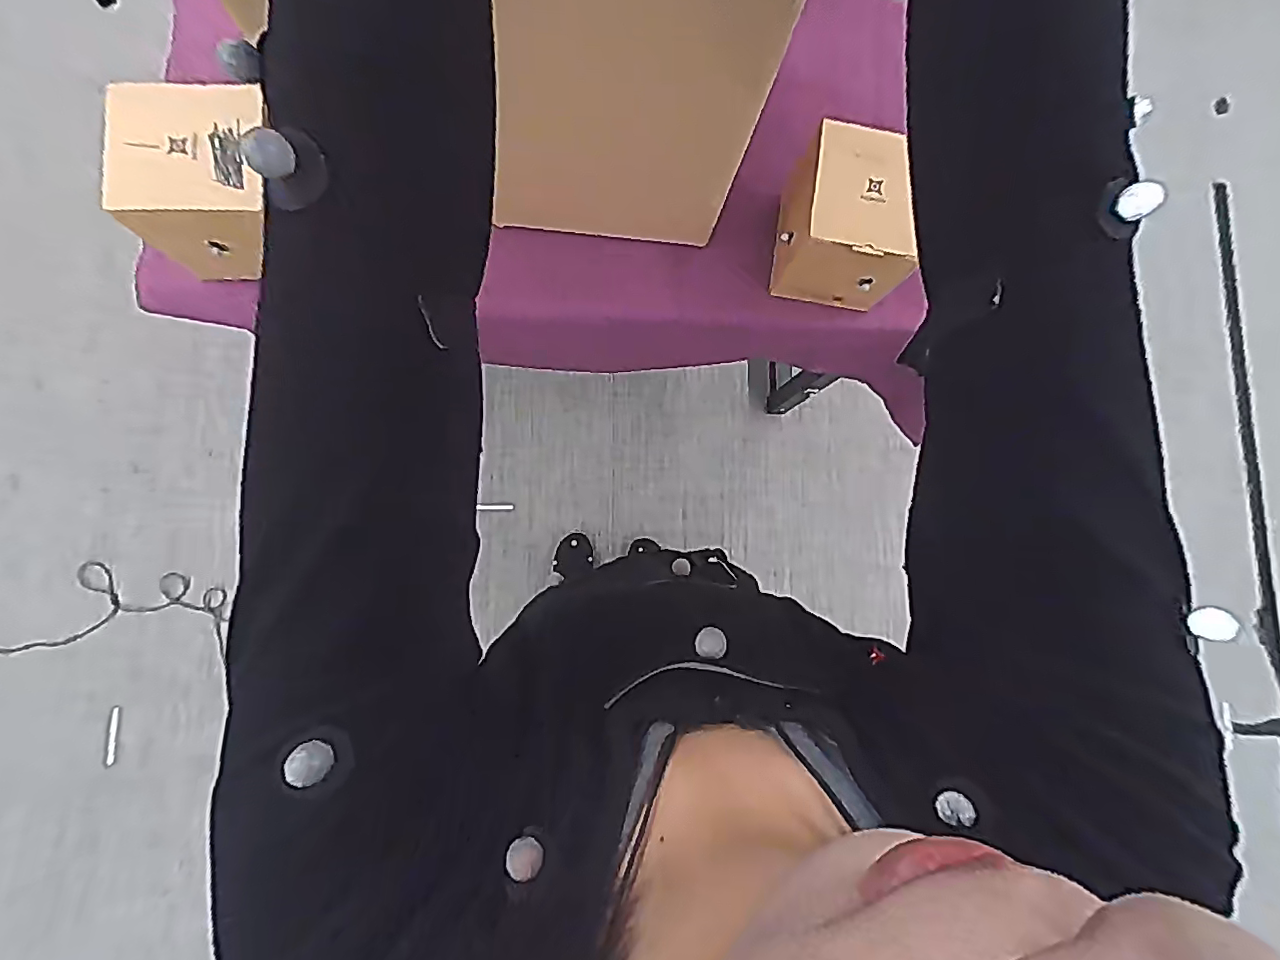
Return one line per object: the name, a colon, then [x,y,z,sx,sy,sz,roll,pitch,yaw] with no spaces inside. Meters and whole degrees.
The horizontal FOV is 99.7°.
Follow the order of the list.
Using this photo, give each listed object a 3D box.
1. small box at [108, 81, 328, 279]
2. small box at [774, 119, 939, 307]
small box: [-0.539,-0.384,0.718,0.179,0.176,0.168,-3,83,-6]
small box: [0.307,-0.378,0.797,0.168,0.176,0.179,8,82,-5]
